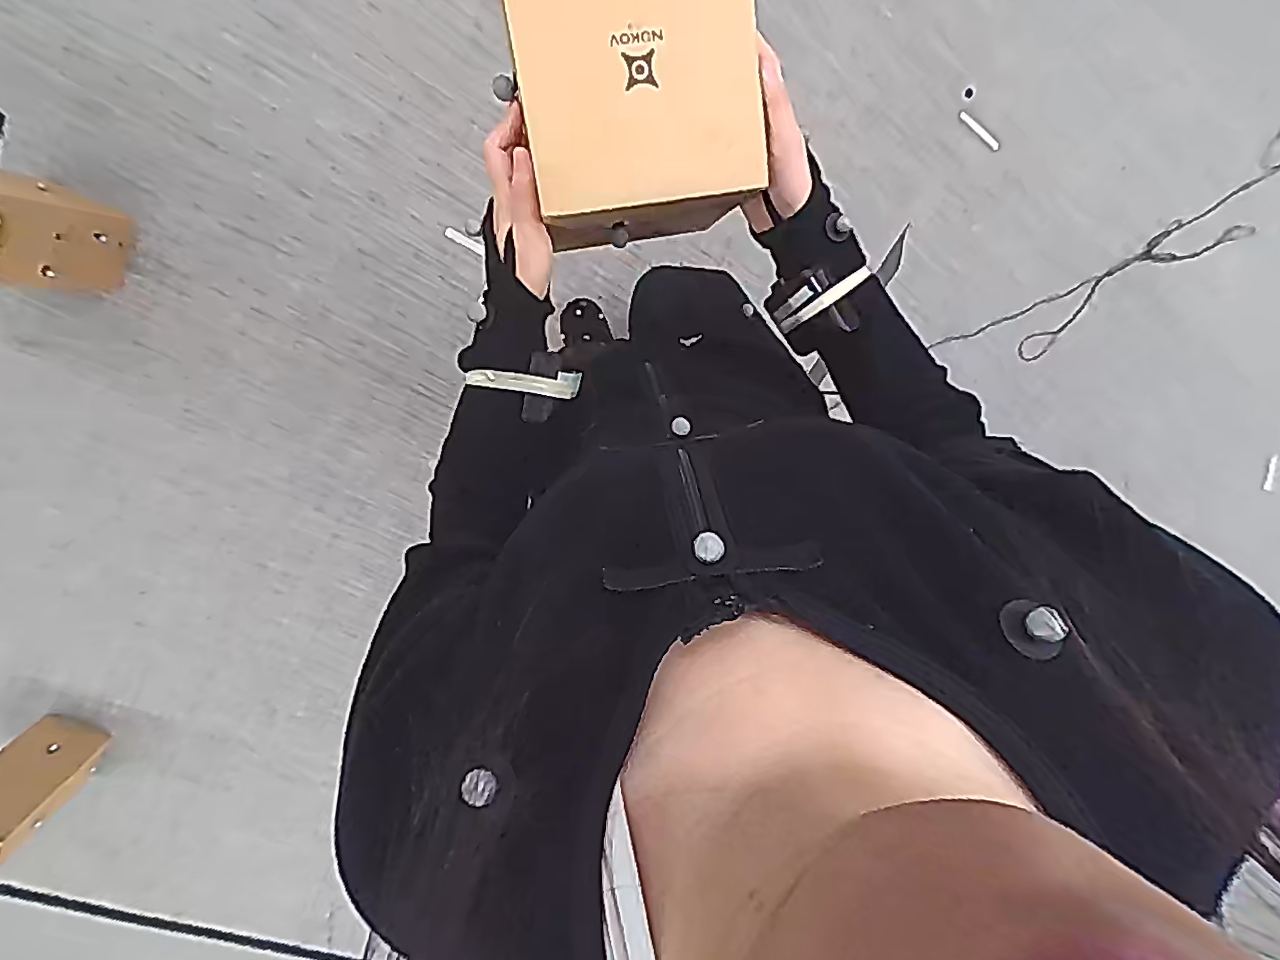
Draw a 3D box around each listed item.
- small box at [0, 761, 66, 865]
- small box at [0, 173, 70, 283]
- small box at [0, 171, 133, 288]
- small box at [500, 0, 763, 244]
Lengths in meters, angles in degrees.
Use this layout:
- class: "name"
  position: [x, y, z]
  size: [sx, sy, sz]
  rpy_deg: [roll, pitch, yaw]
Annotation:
- class: "small box"
  position: [-1.613, 0.837, 1.339]
  size: [0.179, 0.176, 0.168]
  rpy_deg: [31, 103, -17]
- class: "small box"
  position: [-1.187, -0.464, 0.958]
  size: [0.179, 0.176, 0.168]
  rpy_deg: [24, 103, -15]
- class: "small box"
  position: [-1.212, -0.512, 1.114]
  size: [0.179, 0.176, 0.168]
  rpy_deg: [23, 103, -14]
- class: "small box"
  position: [-0.012, -0.299, 0.436]
  size: [0.168, 0.176, 0.179]
  rpy_deg: [-10, 105, -5]
